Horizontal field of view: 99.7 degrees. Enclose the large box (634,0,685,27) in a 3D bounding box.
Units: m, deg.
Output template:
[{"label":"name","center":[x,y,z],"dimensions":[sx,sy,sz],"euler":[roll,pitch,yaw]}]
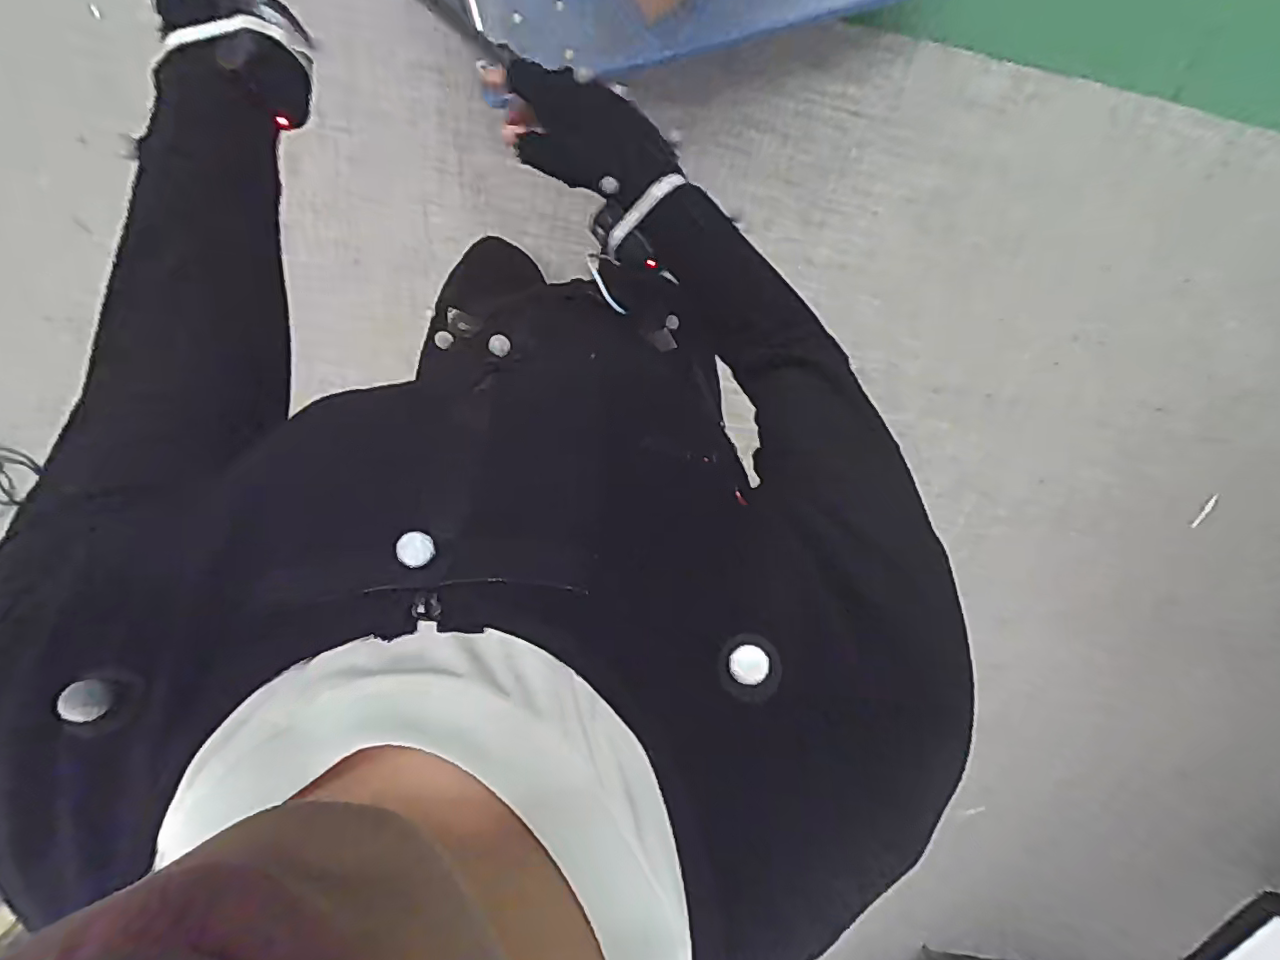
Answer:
[{"label":"large box","center":[0.023,-0.980,0.745],"dimensions":[0.320,0.320,0.408],"euler":[-31,109,15]}]
